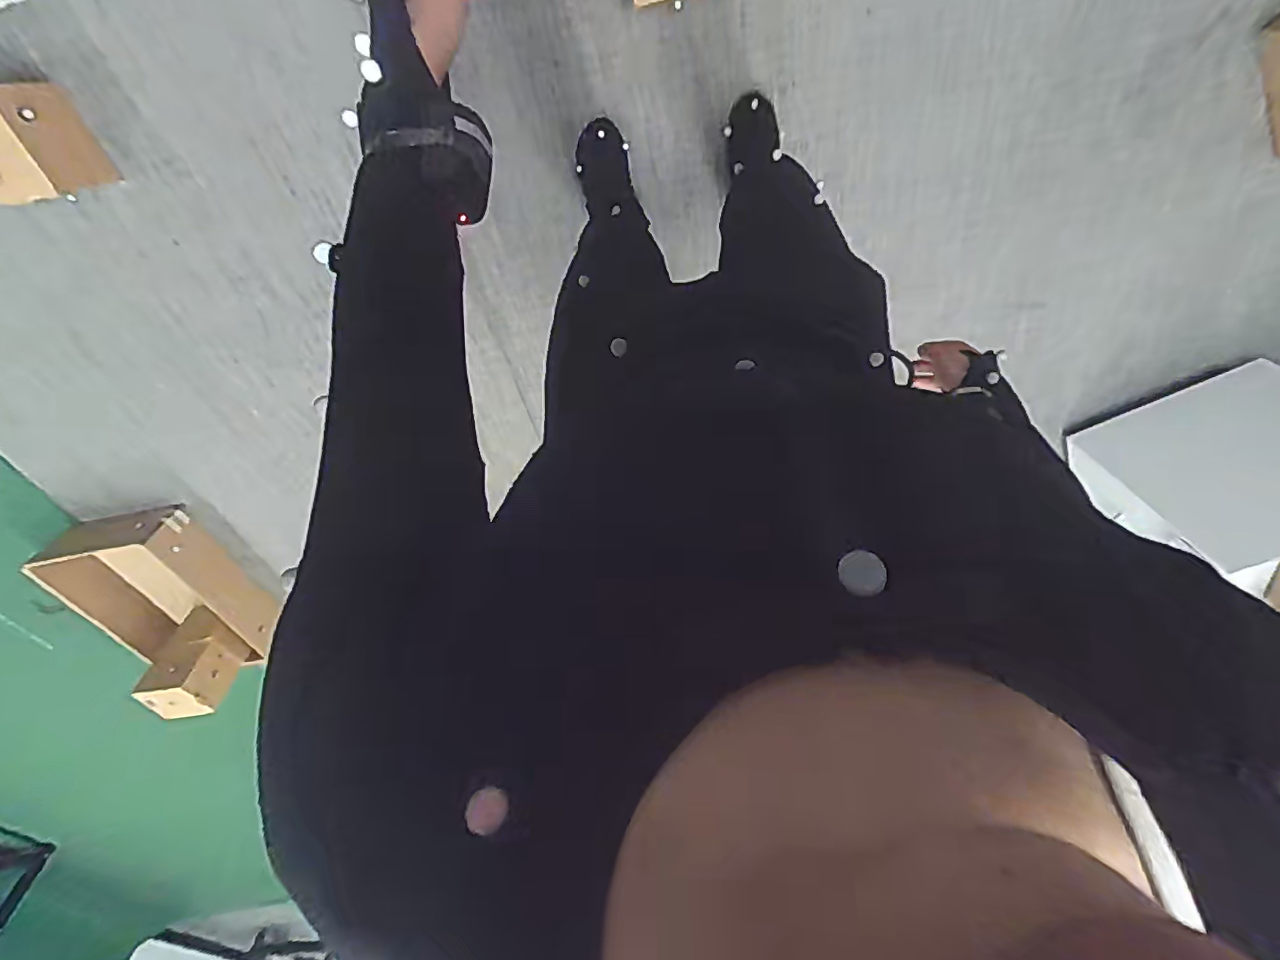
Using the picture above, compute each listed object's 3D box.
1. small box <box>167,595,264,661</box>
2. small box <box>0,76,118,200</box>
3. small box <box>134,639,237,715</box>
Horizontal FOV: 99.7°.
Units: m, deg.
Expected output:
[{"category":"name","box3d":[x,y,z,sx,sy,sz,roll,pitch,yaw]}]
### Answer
[{"category":"small box","box3d":[-1.481,0.531,1.901,0.179,0.176,0.168,-14,129,6]},{"category":"small box","box3d":[-1.180,-0.652,1.028,0.168,0.176,0.179,-7,129,3]},{"category":"small box","box3d":[-1.481,0.644,1.782,0.179,0.176,0.168,-10,129,3]}]
